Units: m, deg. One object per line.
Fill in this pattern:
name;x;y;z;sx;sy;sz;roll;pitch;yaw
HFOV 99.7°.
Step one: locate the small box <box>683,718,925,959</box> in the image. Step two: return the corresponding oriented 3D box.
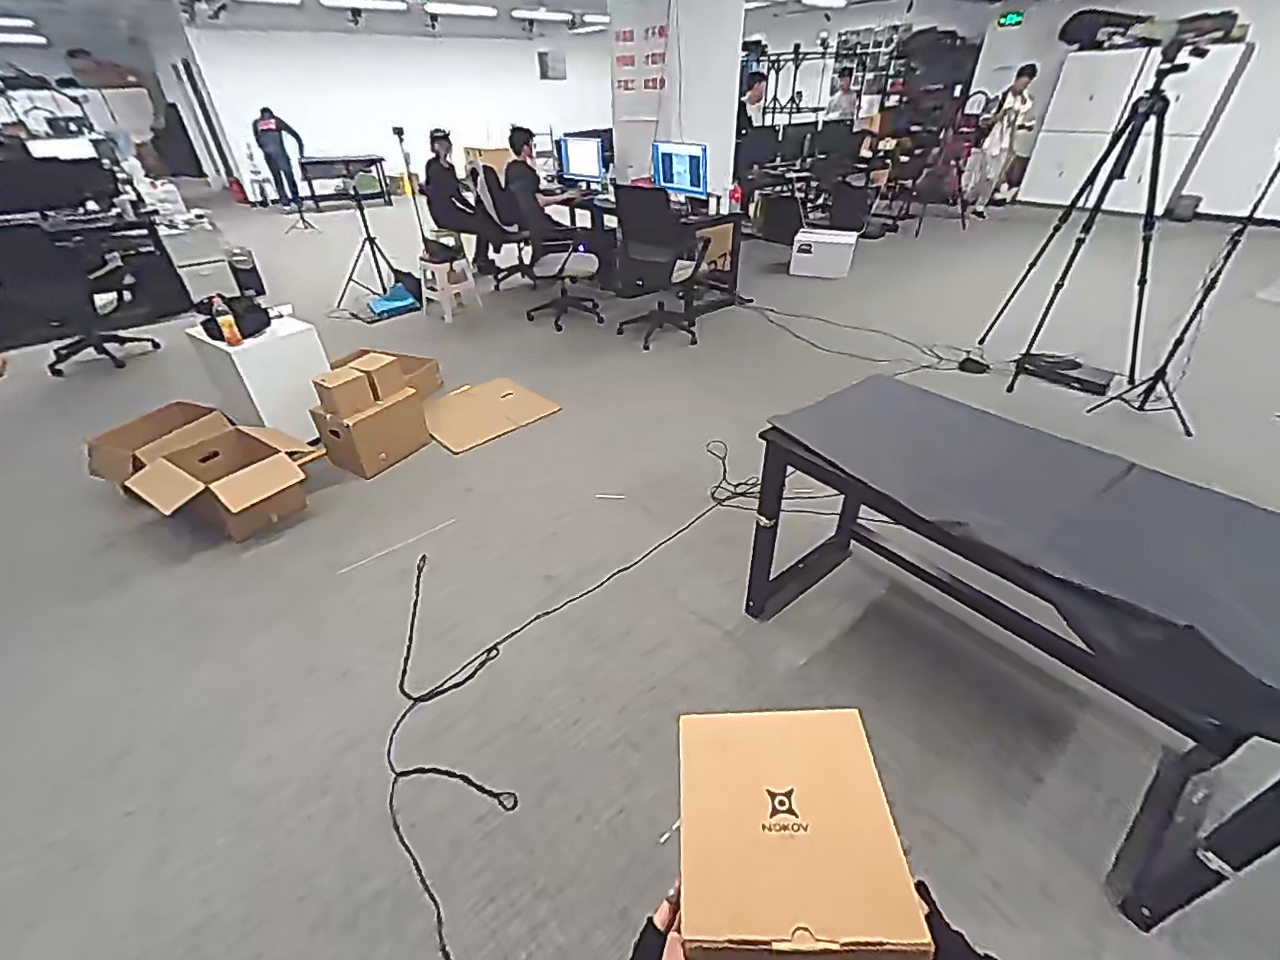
small box;0.125;0.341;0.483;0.168;0.176;0.179;-5;33;6
